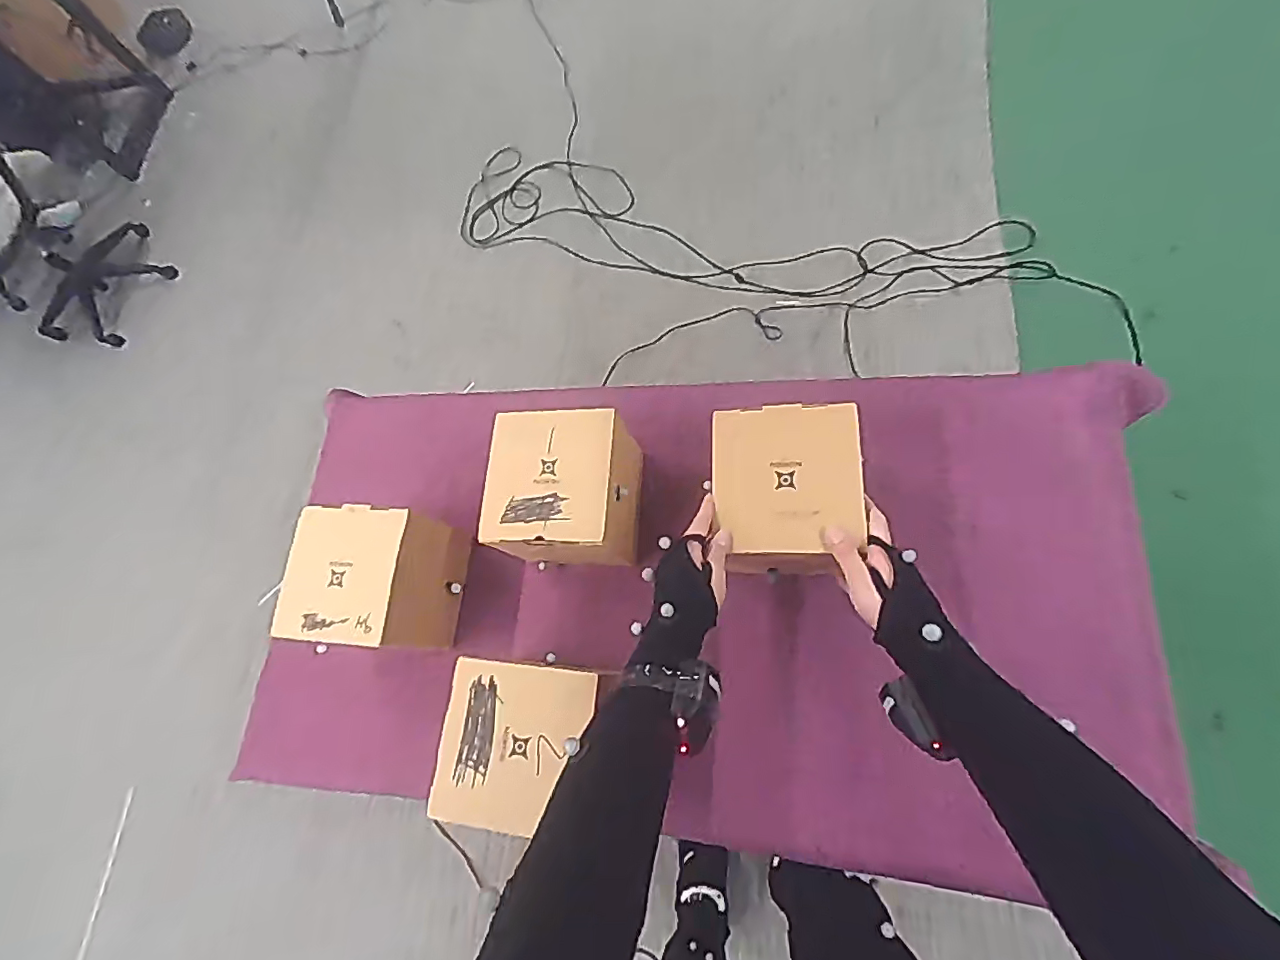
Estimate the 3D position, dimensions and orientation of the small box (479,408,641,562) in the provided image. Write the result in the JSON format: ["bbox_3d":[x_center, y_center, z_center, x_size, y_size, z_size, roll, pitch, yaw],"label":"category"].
[{"bbox_3d":[-0.098,0.015,0.750,0.168,0.176,0.179,0,71,13],"label":"small box"}]

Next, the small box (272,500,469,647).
[{"bbox_3d":[-0.366,0.138,0.770,0.168,0.176,0.179,1,72,15],"label":"small box"}]

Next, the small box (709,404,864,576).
[{"bbox_3d":[0.180,0.020,0.685,0.168,0.176,0.179,-1,73,14],"label":"small box"}]
